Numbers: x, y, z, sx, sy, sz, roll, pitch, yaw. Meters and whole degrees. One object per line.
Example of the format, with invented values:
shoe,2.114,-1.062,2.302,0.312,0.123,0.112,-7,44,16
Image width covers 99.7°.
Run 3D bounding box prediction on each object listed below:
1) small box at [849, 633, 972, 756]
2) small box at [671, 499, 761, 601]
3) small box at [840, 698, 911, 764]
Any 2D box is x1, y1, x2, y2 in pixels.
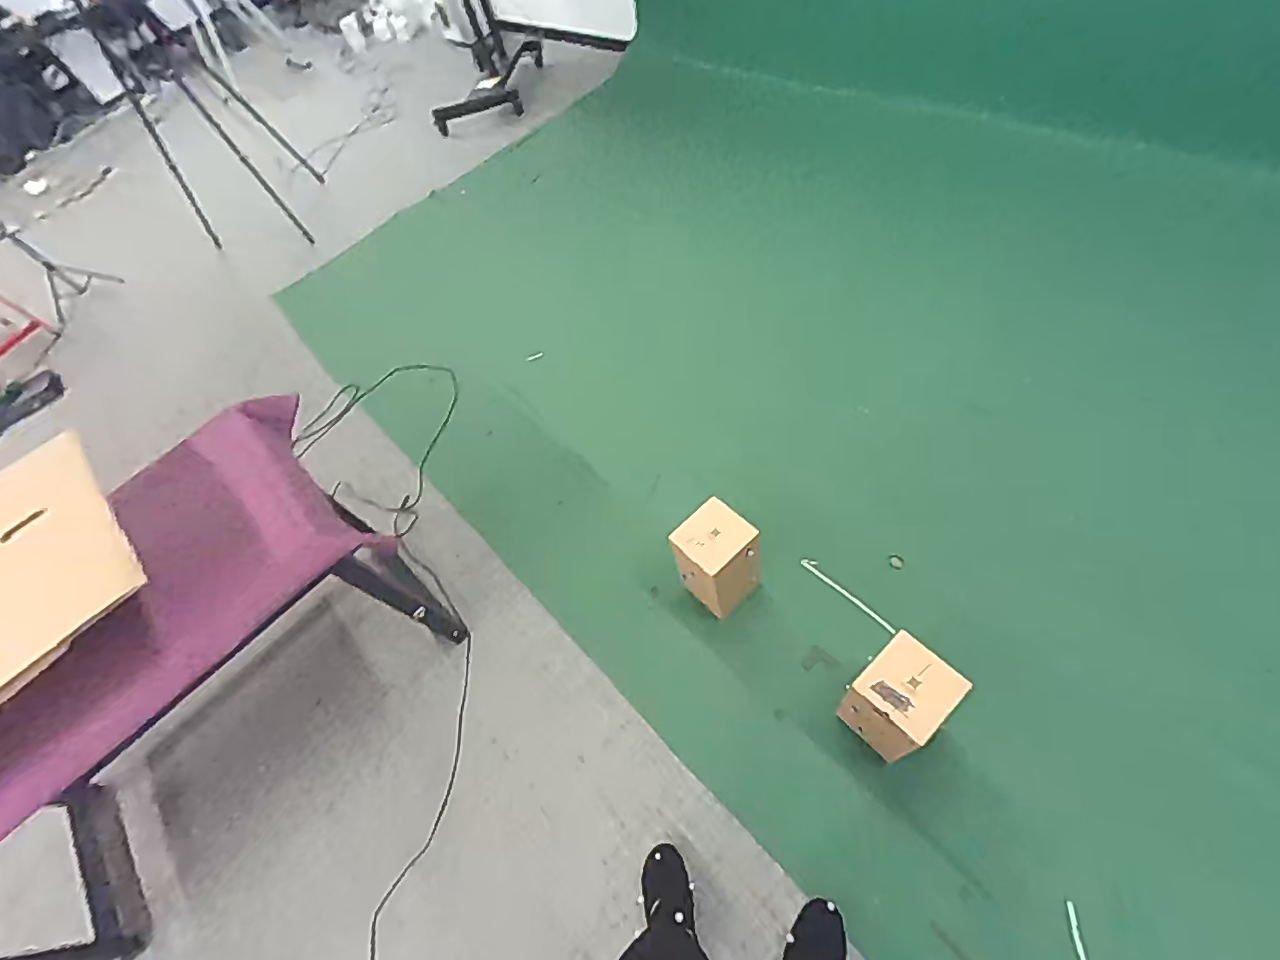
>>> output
small box,0.580,0.475,1.186,0.179,0.176,0.168,-40,59,-13
small box,0.208,0.192,1.459,0.179,0.176,0.168,-40,57,-14
small box,0.612,0.561,1.322,0.179,0.176,0.168,-42,59,-14
